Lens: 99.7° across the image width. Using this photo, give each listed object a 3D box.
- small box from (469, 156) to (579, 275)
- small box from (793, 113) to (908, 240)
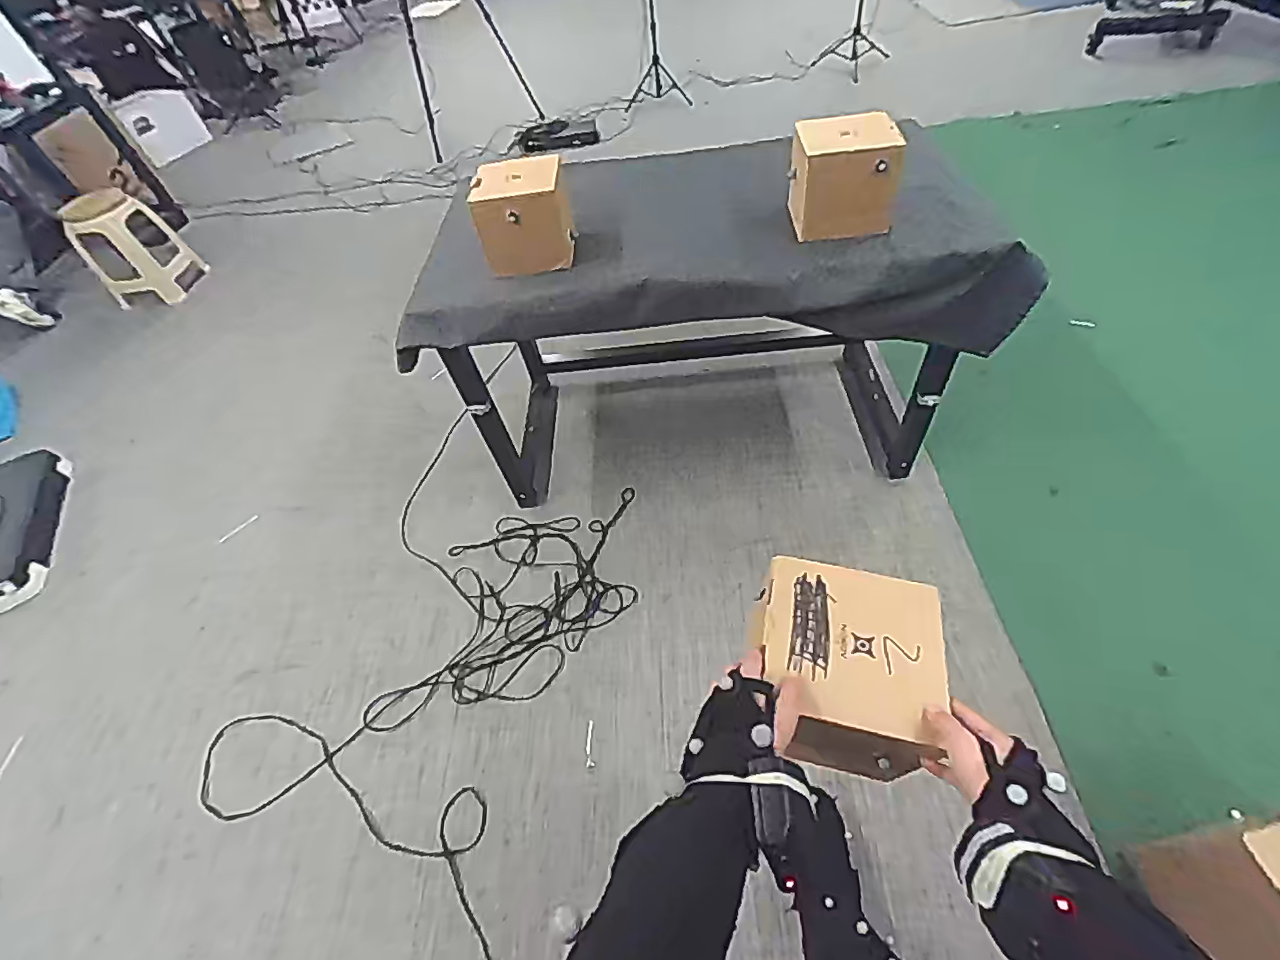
[{"bbox_3d":[-0.235,-0.551,1.139,0.179,0.176,0.168,-5,53,4],"label":"small box"},{"bbox_3d":[0.403,-0.595,1.073,0.179,0.176,0.168,-3,51,7],"label":"small box"}]
